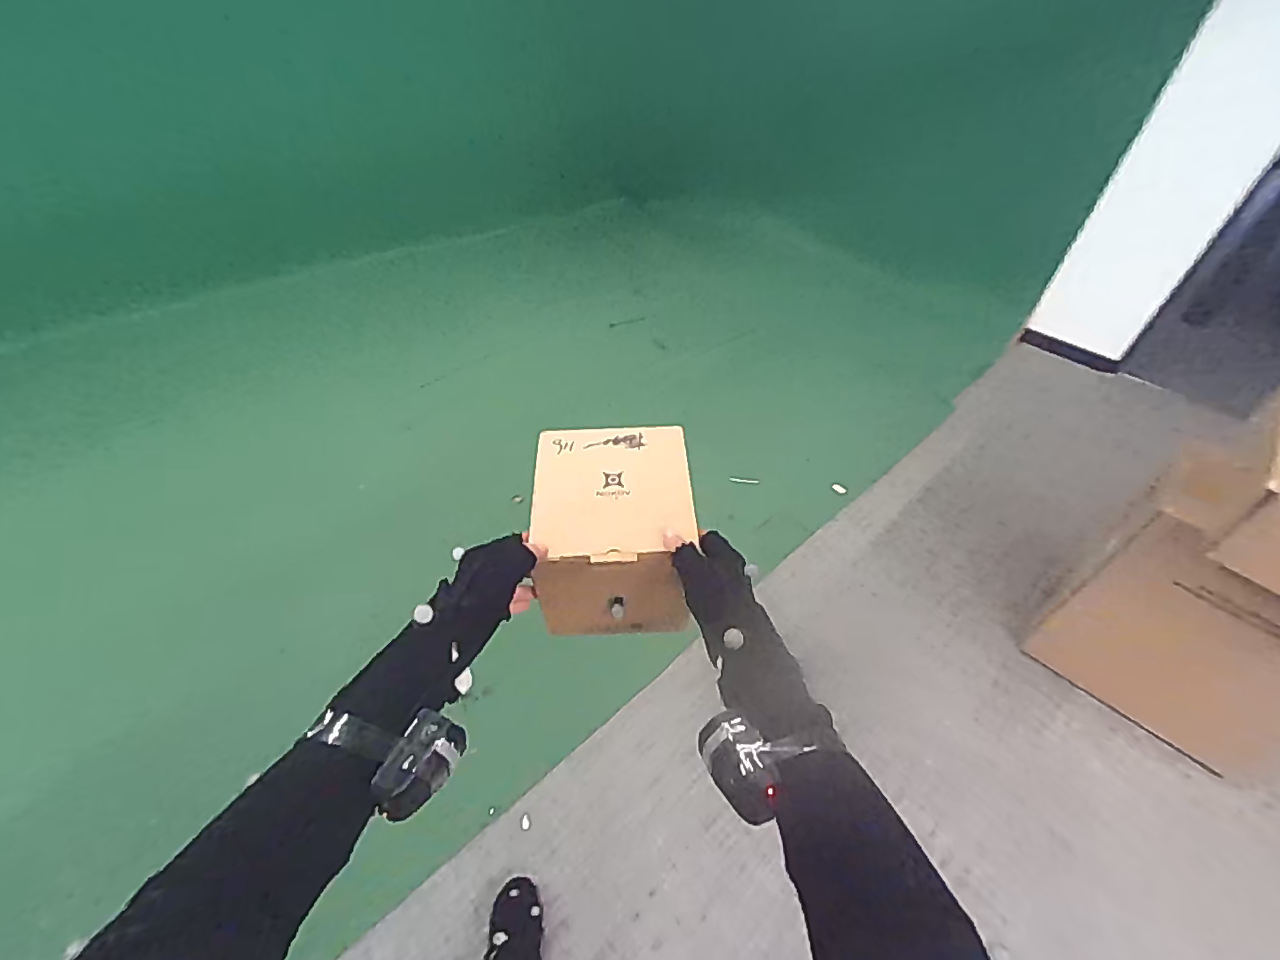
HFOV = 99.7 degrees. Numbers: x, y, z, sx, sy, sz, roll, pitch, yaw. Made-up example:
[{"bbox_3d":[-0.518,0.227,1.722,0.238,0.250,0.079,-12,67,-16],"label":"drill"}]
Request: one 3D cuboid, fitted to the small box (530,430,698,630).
[{"bbox_3d":[-0.024,0.063,0.626,0.168,0.176,0.179,-2,49,-1],"label":"small box"}]
